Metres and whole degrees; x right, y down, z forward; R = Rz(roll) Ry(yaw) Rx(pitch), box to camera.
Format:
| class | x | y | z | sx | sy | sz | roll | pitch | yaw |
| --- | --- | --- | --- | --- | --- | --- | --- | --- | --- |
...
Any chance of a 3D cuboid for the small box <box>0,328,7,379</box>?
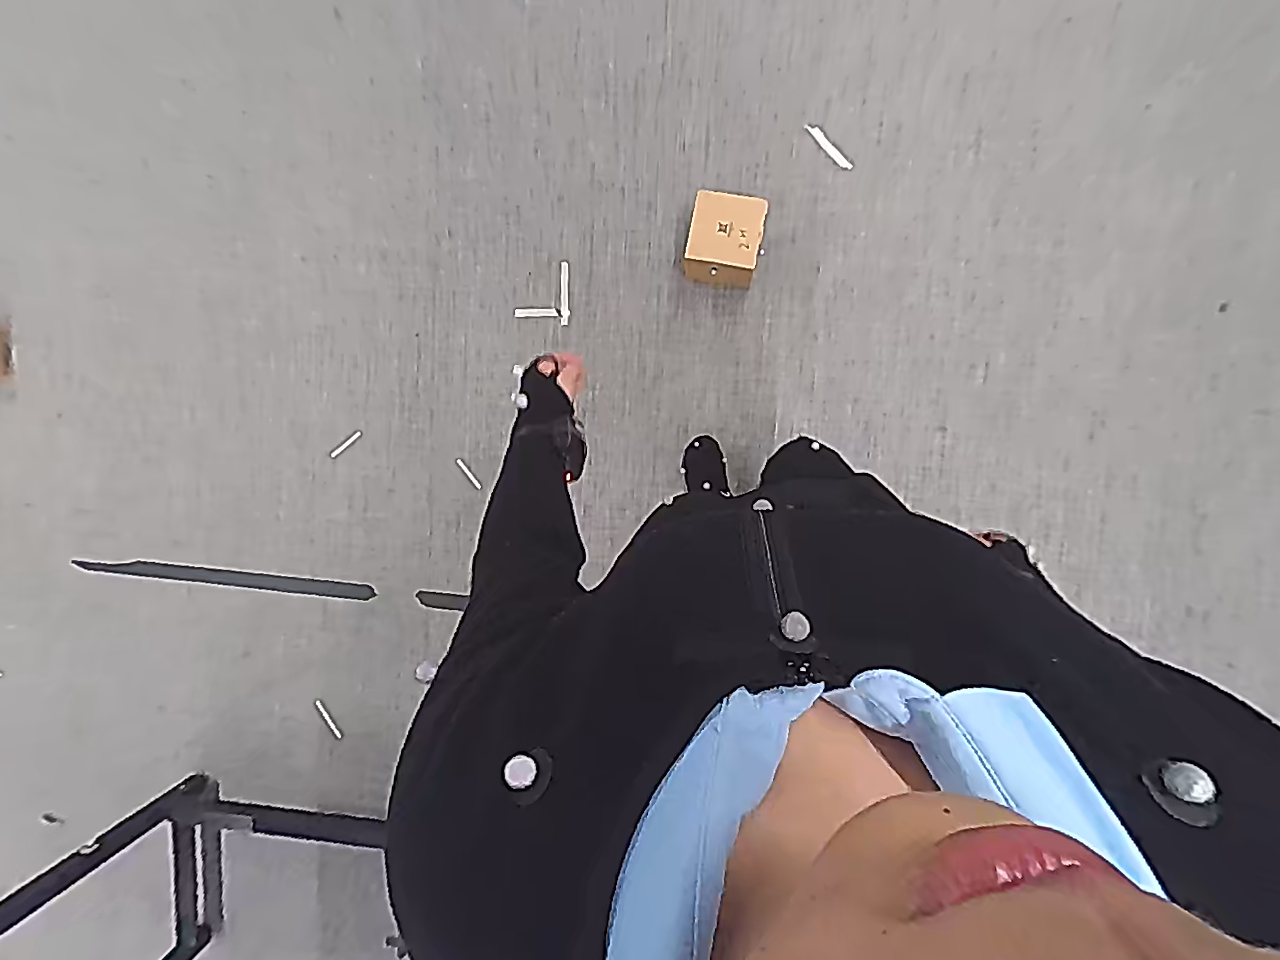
| class | x | y | z | sx | sy | sz | roll | pitch | yaw |
| --- | --- | --- | --- | --- | --- | --- | --- | --- | --- |
| small box | -2.144 | -0.403 | 1.686 | 0.179 | 0.176 | 0.168 | -4 | 93 | 8 |

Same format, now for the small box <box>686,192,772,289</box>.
| class | x | y | z | sx | sy | sz | roll | pitch | yaw |
| --- | --- | --- | --- | --- | --- | --- | --- | --- | --- |
| small box | 0.223 | -0.601 | 1.373 | 0.179 | 0.176 | 0.168 | 13 | 96 | 6 |
